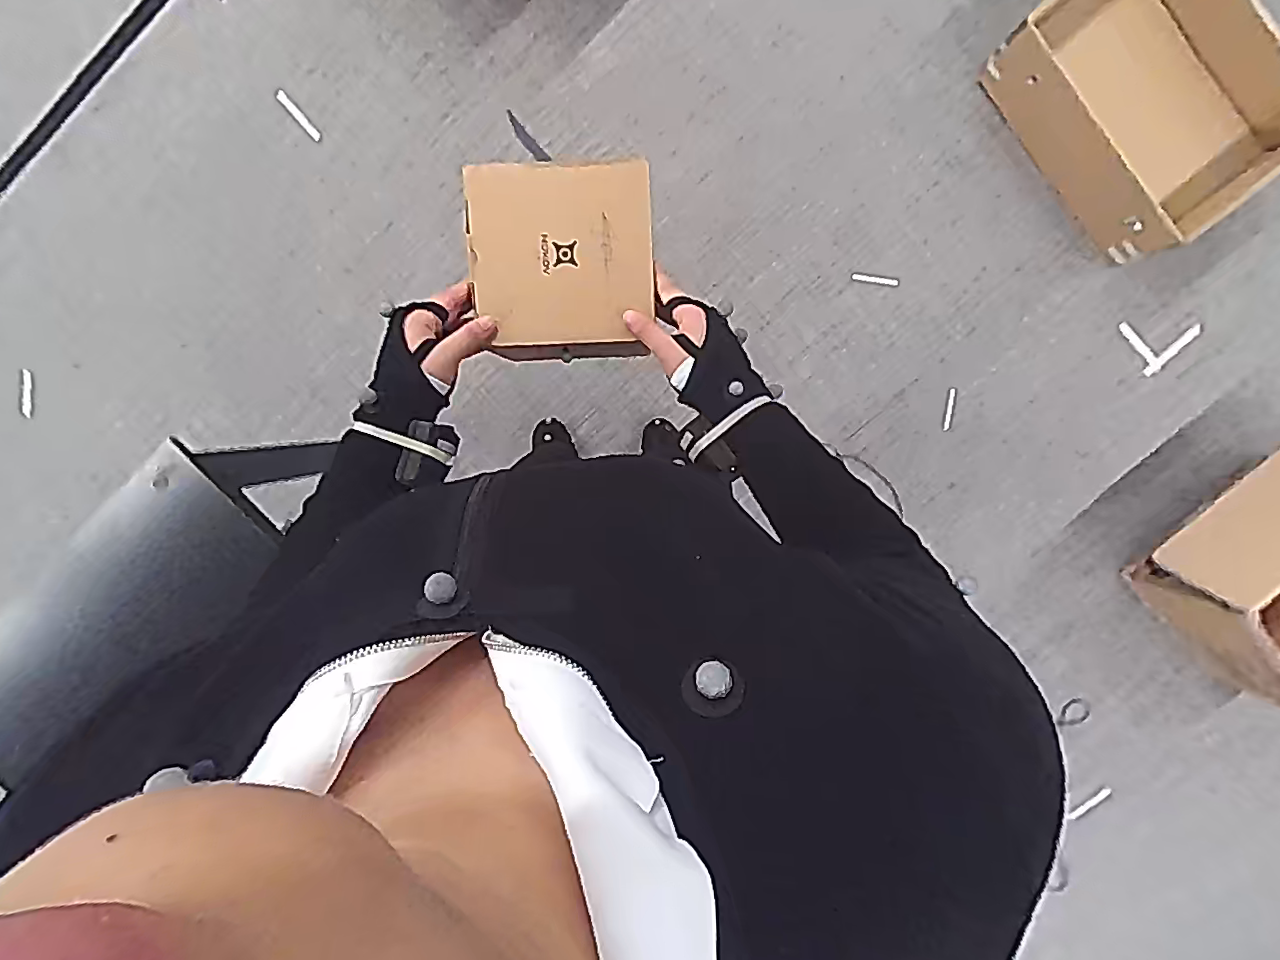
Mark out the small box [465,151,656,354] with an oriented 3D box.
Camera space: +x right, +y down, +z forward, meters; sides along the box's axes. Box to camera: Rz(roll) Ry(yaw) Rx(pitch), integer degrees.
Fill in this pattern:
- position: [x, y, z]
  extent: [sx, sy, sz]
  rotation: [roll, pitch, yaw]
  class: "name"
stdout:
- position: [-0.074, -0.230, 0.587]
  extent: [0.179, 0.176, 0.168]
  rotation: [-3, 98, -1]
  class: "small box"
